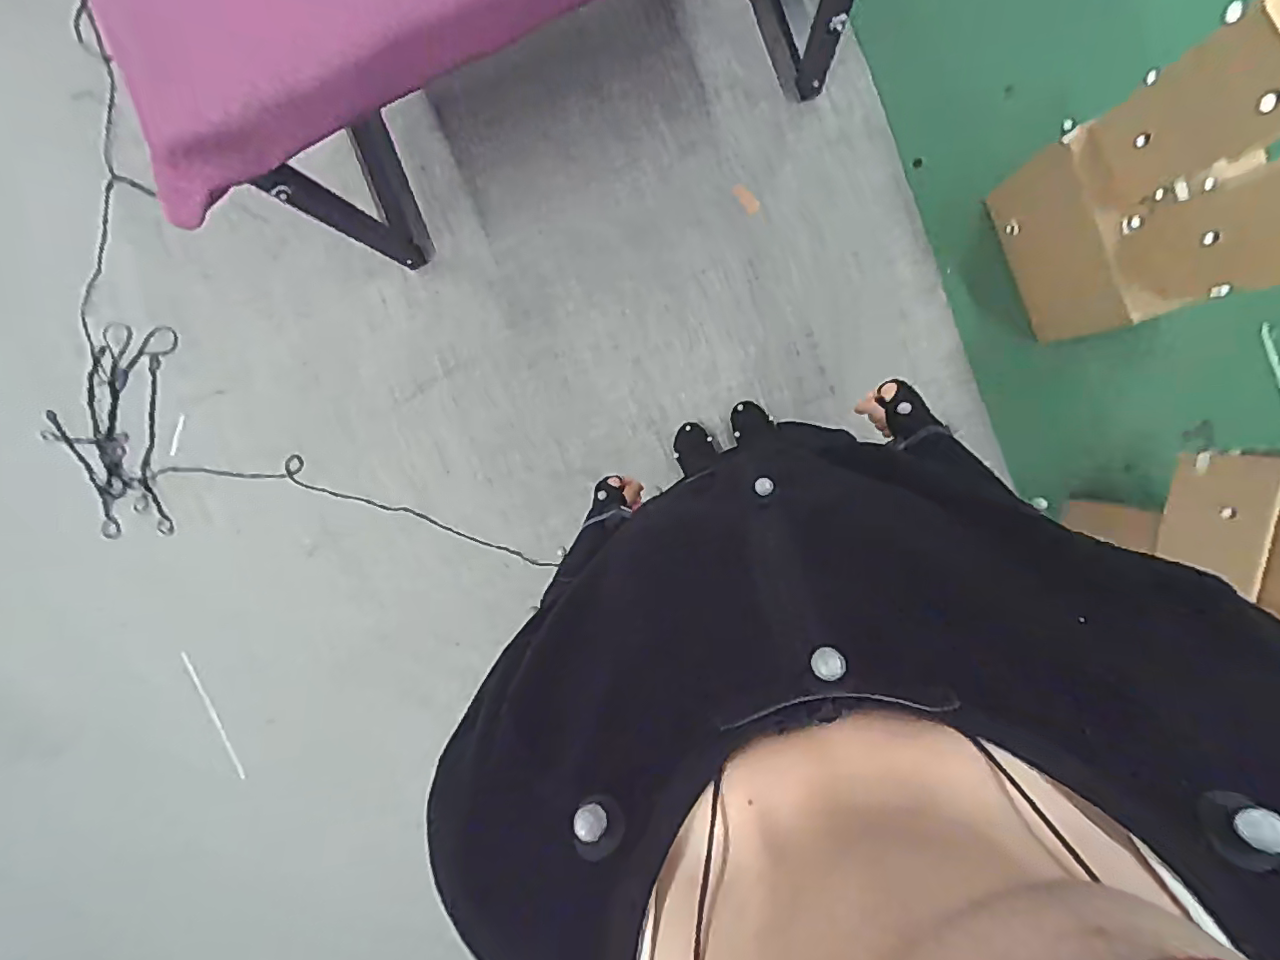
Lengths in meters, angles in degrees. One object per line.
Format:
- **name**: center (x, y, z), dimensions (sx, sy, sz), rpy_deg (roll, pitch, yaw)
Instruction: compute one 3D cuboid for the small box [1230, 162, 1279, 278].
- **small box**: center (1.056, -0.418, 0.799), dimensions (0.168, 0.176, 0.179), rpy_deg (-20, 92, 9)
